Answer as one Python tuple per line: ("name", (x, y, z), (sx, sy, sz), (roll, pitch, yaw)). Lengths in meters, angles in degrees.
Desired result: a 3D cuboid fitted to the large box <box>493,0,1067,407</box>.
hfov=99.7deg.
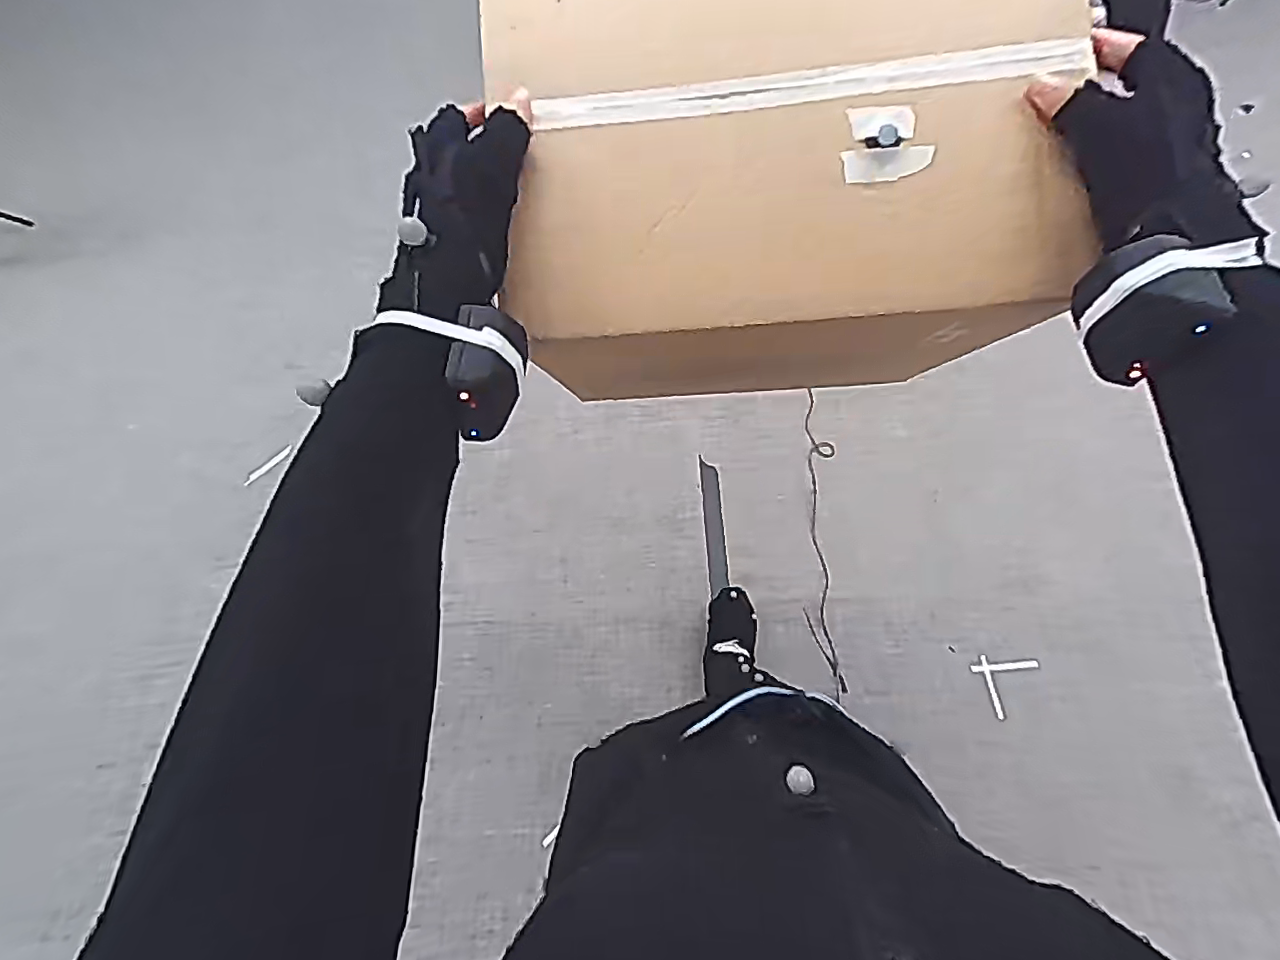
("large box", (0.103, -0.262, 0.544), (0.408, 0.320, 0.320), (-4, 91, 4))
